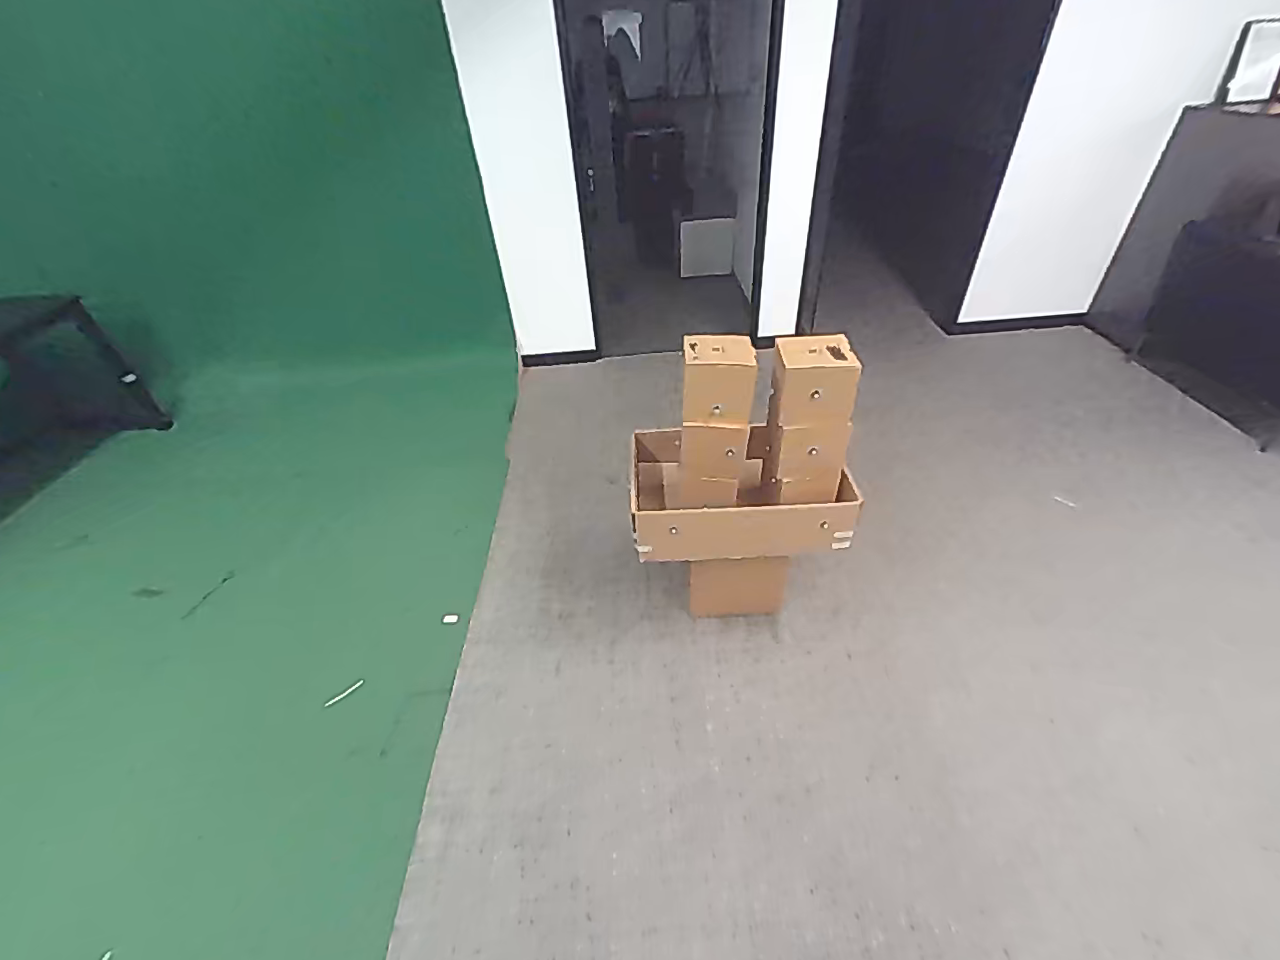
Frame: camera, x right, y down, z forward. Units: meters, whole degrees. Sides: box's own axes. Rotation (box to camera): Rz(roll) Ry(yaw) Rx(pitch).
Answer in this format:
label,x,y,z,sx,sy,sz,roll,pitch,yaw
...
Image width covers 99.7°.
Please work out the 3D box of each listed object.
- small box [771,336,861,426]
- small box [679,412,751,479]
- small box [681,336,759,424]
label,x,y,z,sx,sy,sz,roll,pitch,yaw
small box,0.437,-0.249,1.368,0.179,0.176,0.168,-2,40,5
small box,0.204,-0.118,1.491,0.179,0.176,0.168,4,39,5
small box,0.200,-0.259,1.407,0.179,0.176,0.168,3,38,1
